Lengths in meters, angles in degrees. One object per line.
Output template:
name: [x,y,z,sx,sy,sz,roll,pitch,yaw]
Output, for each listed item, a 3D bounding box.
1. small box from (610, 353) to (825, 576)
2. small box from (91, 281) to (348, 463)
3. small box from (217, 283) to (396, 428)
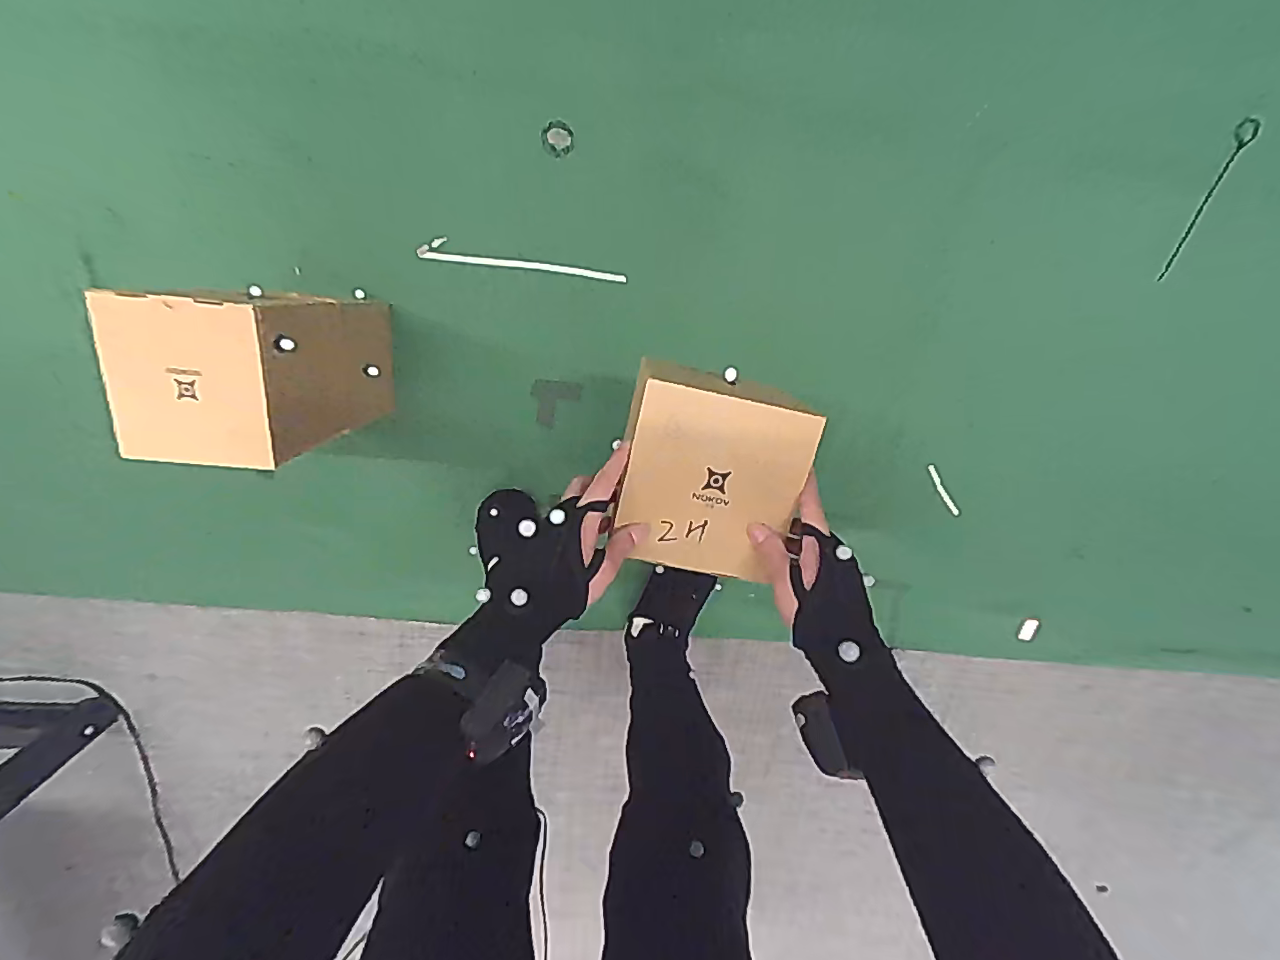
small box: [0.066,-0.027,0.576,0.168,0.176,0.179,12,109,-5]
small box: [-0.468,-0.133,0.638,0.168,0.176,0.179,5,108,-2]
small box: [-0.474,-0.186,0.790,0.168,0.176,0.179,5,110,-2]
